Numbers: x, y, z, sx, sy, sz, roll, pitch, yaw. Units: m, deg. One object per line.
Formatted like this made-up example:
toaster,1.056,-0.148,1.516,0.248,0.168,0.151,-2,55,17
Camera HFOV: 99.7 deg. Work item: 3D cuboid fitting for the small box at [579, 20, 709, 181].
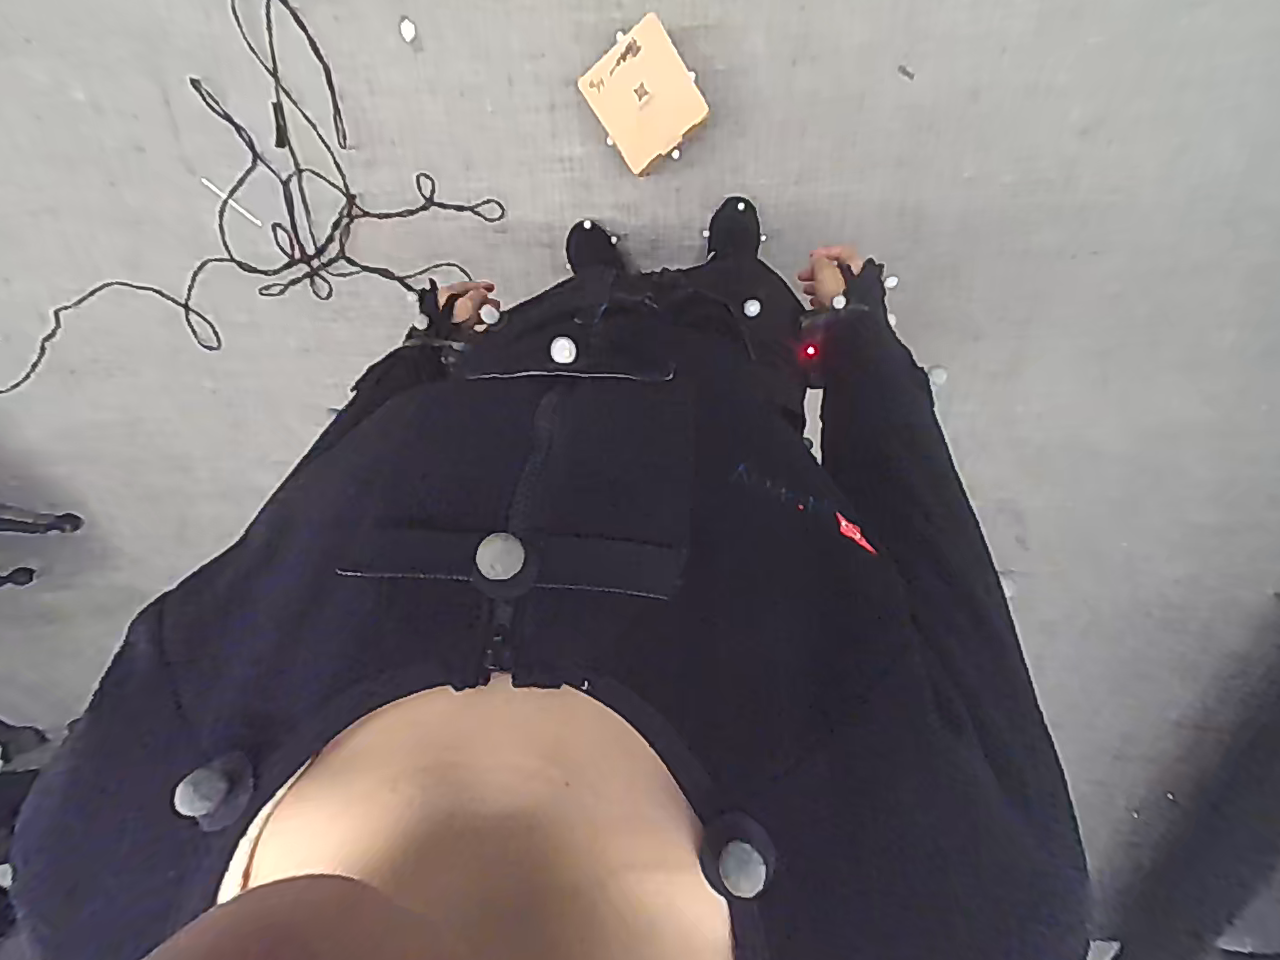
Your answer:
small box,0.014,-0.689,1.006,0.168,0.176,0.179,-31,111,19
